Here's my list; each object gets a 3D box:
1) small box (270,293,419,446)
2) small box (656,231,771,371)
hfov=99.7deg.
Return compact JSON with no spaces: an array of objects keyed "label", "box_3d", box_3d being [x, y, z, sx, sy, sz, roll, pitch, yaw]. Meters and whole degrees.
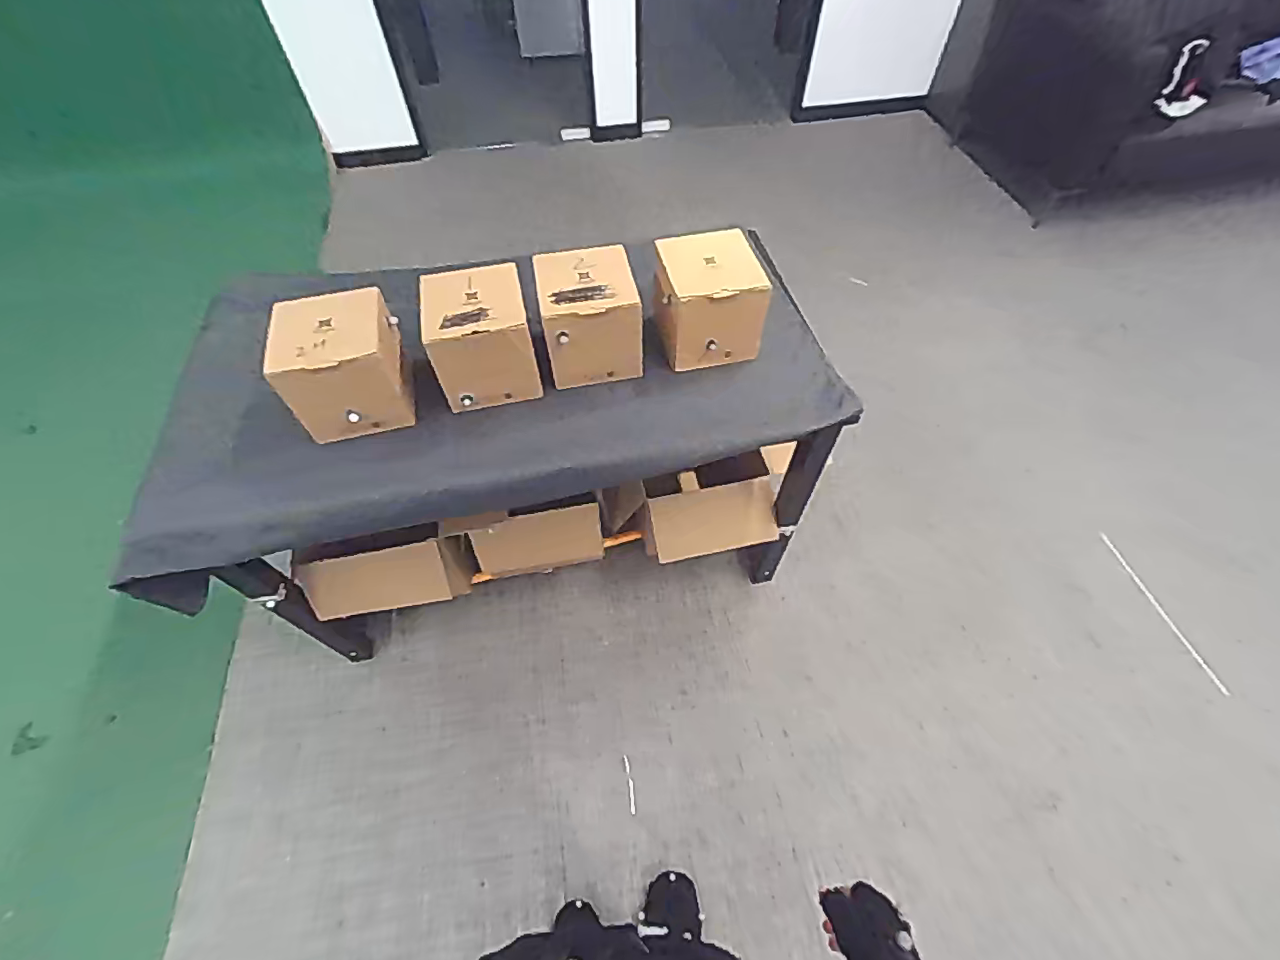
[{"label":"small box","box_3d":[-0.492,-0.187,0.926,0.168,0.176,0.179,-14,57,-8]},{"label":"small box","box_3d":[0.126,-0.333,1.014,0.168,0.176,0.179,-11,57,-6]}]
